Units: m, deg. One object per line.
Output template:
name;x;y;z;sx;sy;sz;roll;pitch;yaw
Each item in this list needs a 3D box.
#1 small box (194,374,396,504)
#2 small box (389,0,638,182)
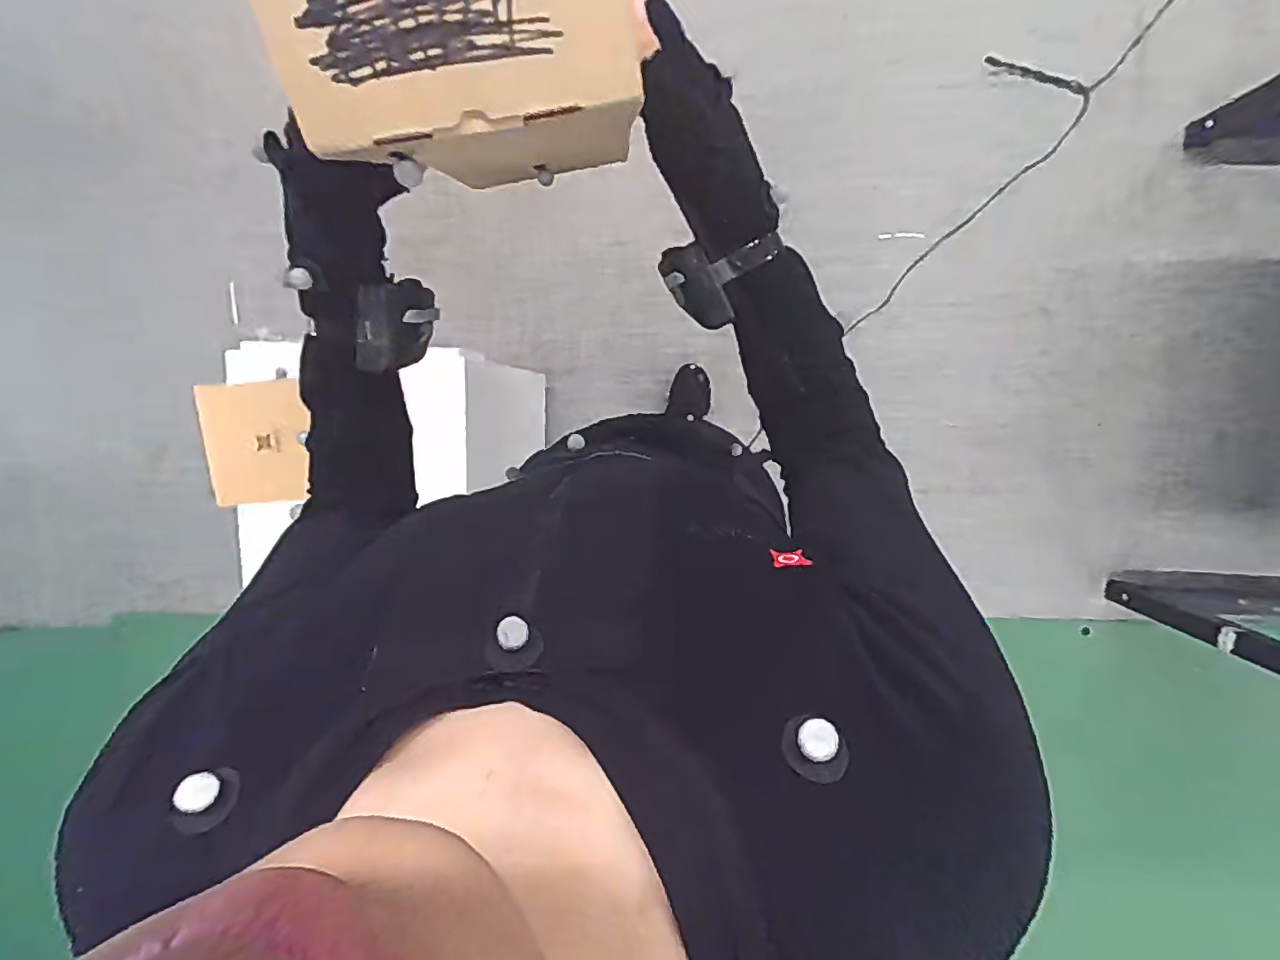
small box;-0.494;-0.063;0.798;0.179;0.176;0.168;-5;98;3
small box;-0.097;-0.369;0.449;0.168;0.176;0.179;-9;111;2
